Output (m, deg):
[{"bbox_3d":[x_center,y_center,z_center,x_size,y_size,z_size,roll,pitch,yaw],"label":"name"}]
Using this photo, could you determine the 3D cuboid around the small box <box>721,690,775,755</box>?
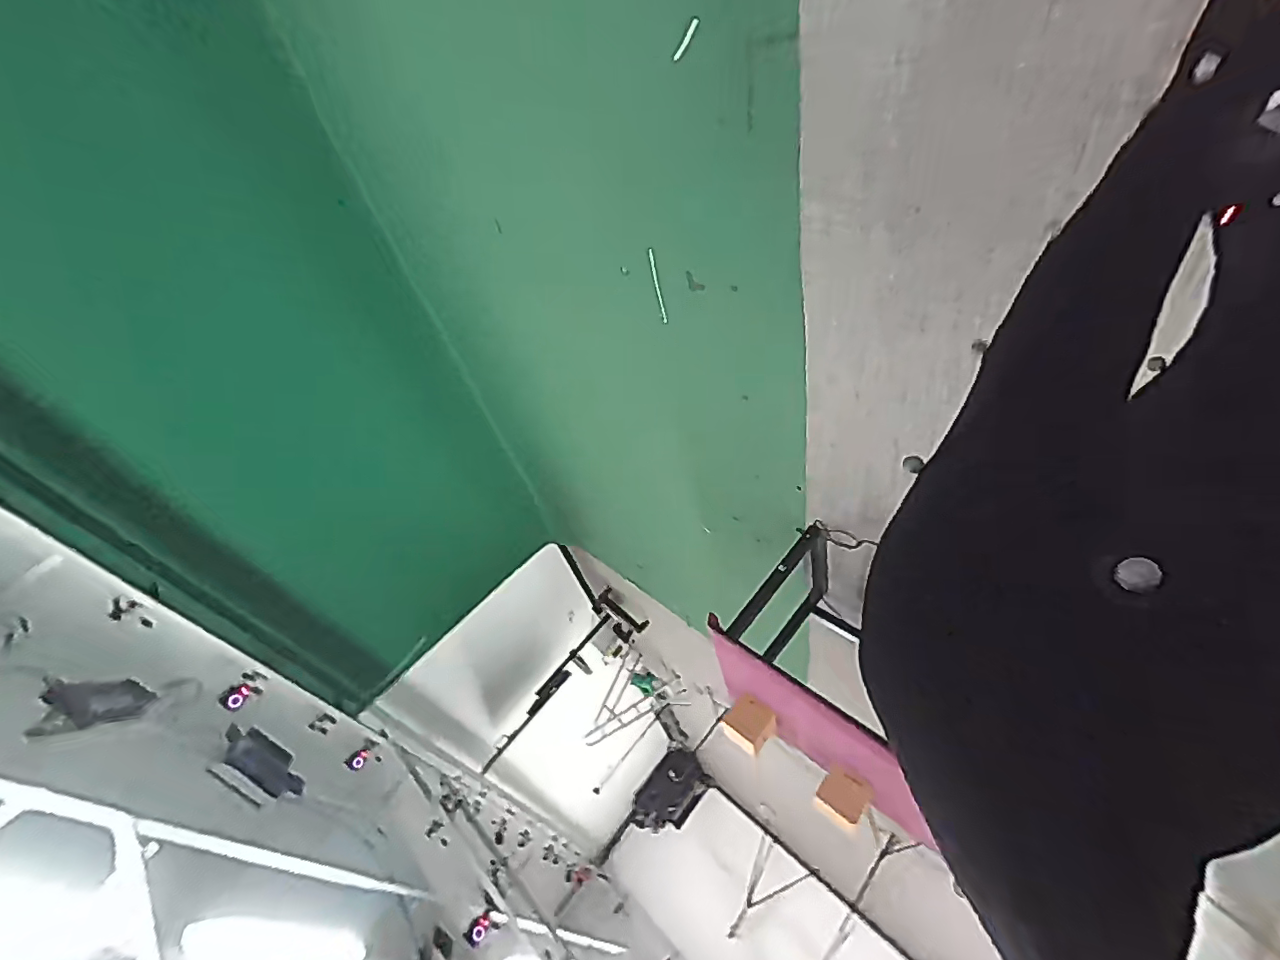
[{"bbox_3d":[0.476,1.054,2.355,0.168,0.176,0.179,28,151,35],"label":"small box"}]

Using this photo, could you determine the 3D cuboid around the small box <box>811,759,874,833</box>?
[{"bbox_3d":[0.790,1.231,2.109,0.168,0.176,0.179,29,150,34],"label":"small box"}]
